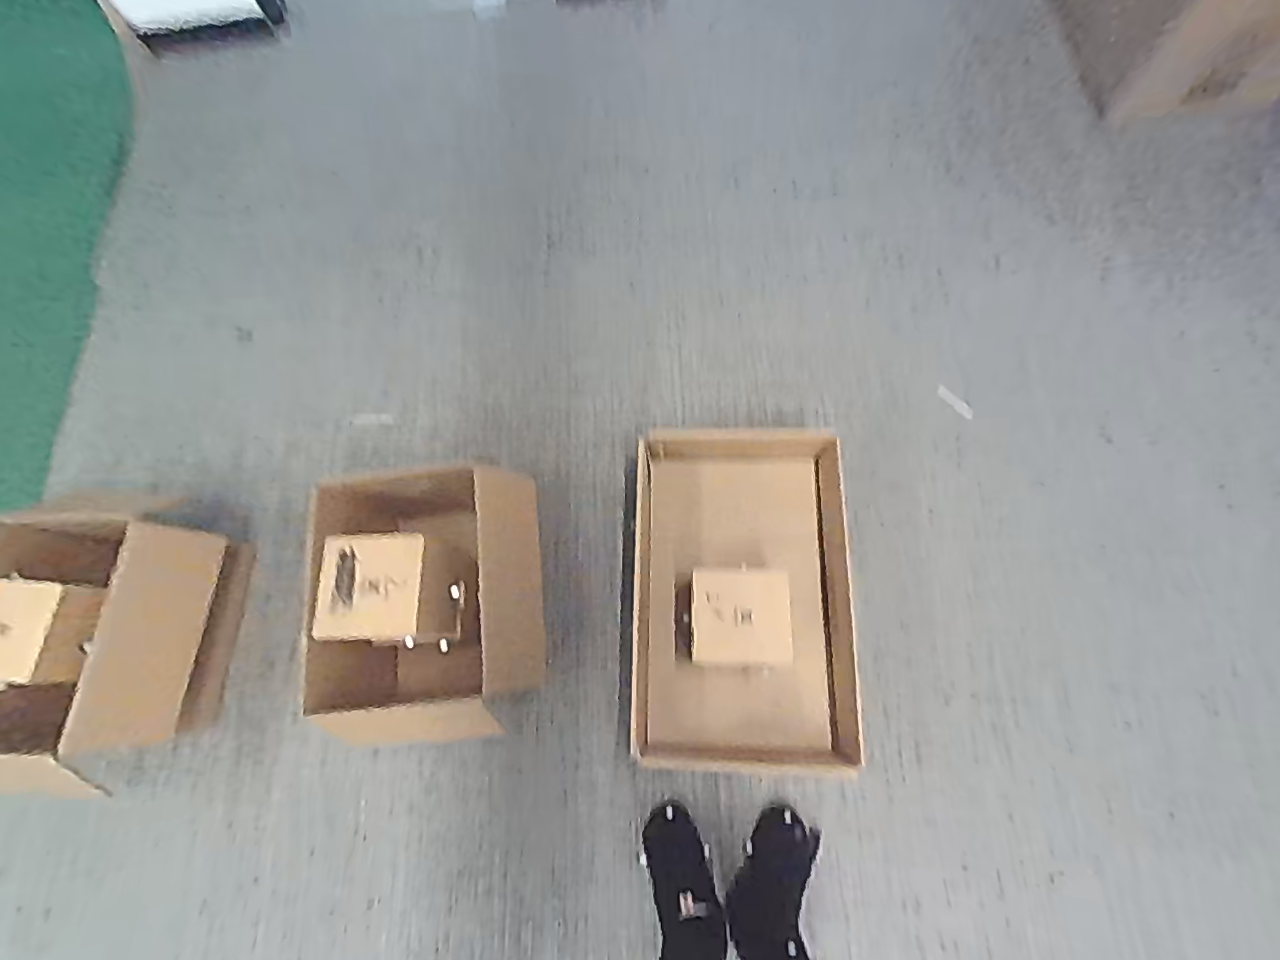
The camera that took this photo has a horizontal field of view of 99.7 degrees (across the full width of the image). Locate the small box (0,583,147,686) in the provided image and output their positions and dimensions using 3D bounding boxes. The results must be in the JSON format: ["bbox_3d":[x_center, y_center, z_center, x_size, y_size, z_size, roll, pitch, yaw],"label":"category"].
[{"bbox_3d":[-1.090,0.286,1.008,0.179,0.176,0.168,2,72,5],"label":"small box"}]
